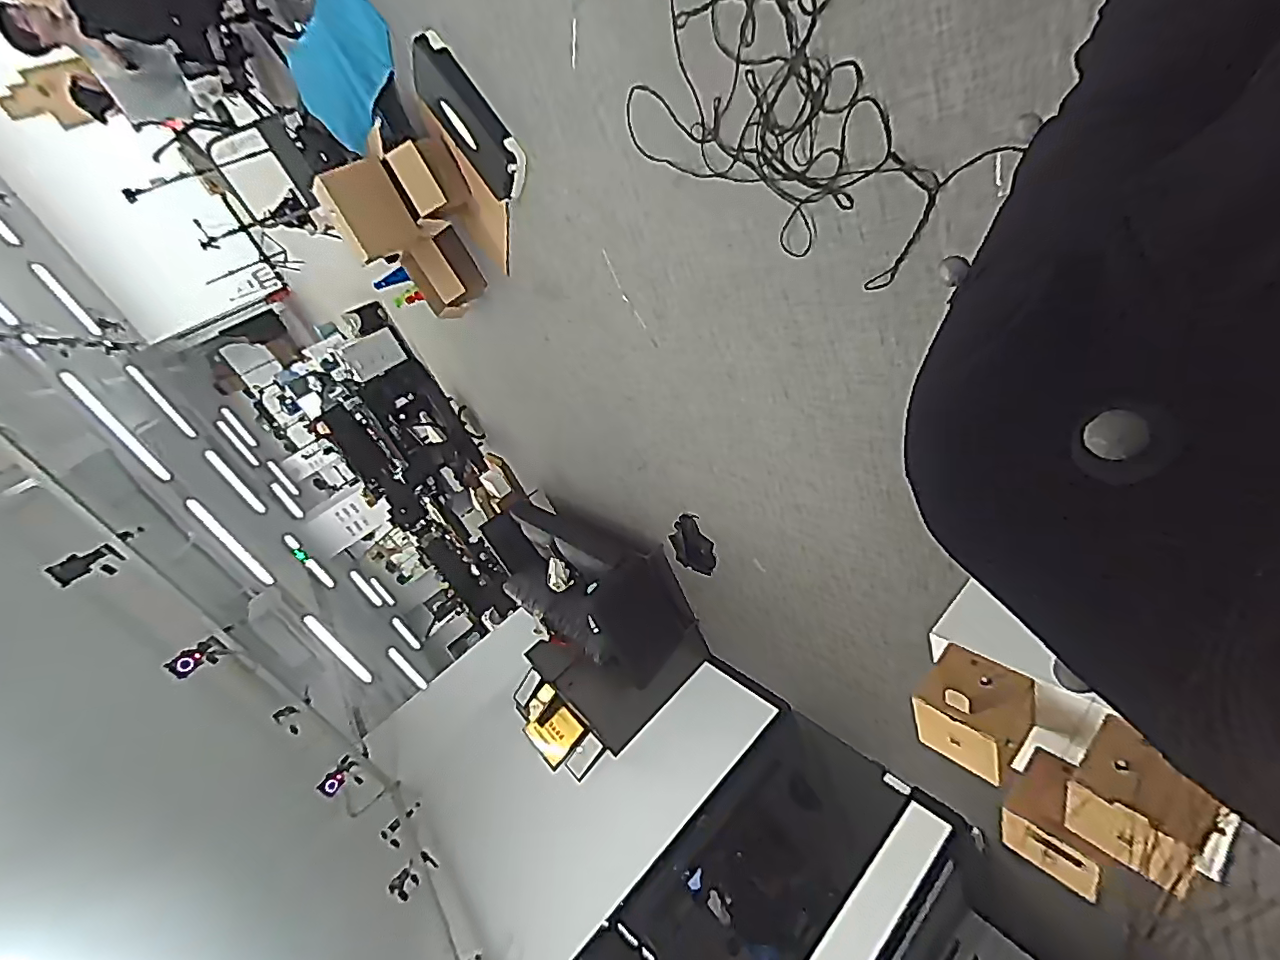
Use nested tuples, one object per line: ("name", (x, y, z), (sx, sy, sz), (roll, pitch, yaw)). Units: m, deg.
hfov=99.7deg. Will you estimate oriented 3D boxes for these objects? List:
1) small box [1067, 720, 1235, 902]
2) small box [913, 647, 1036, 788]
("small box", (0.871, 0.556, 0.928), (0.168, 0.176, 0.179), (23, 146, 52))
("small box", (0.708, 0.494, 1.142), (0.168, 0.176, 0.179), (21, 142, 51))
